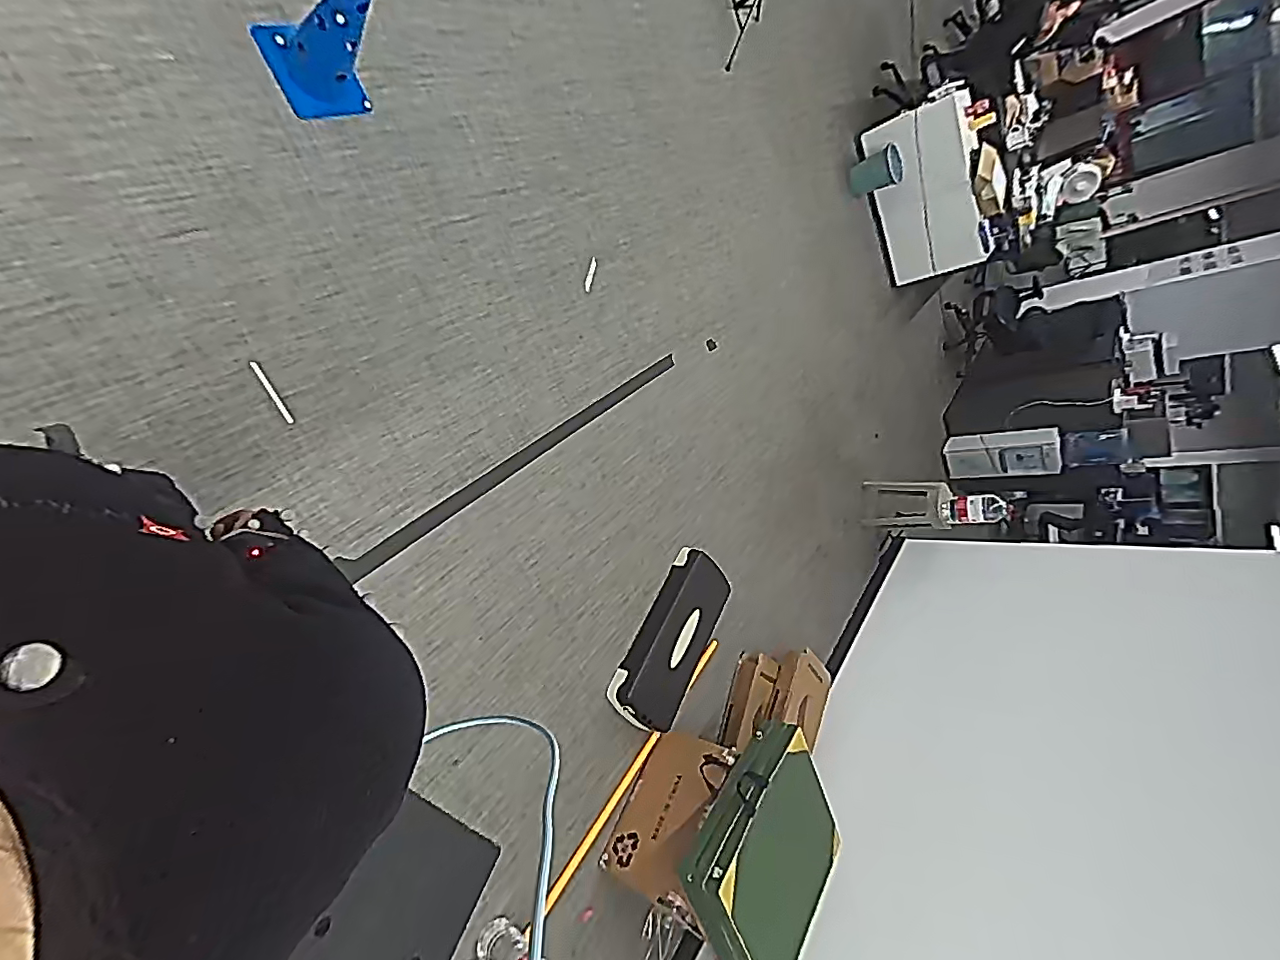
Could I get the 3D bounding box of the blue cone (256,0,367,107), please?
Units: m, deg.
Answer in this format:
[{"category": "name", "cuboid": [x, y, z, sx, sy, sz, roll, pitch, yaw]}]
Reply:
[{"category": "blue cone", "cuboid": [-0.663, -1.003, 1.175, 0.192, 0.380, 0.193, -40, 115, -40]}]
